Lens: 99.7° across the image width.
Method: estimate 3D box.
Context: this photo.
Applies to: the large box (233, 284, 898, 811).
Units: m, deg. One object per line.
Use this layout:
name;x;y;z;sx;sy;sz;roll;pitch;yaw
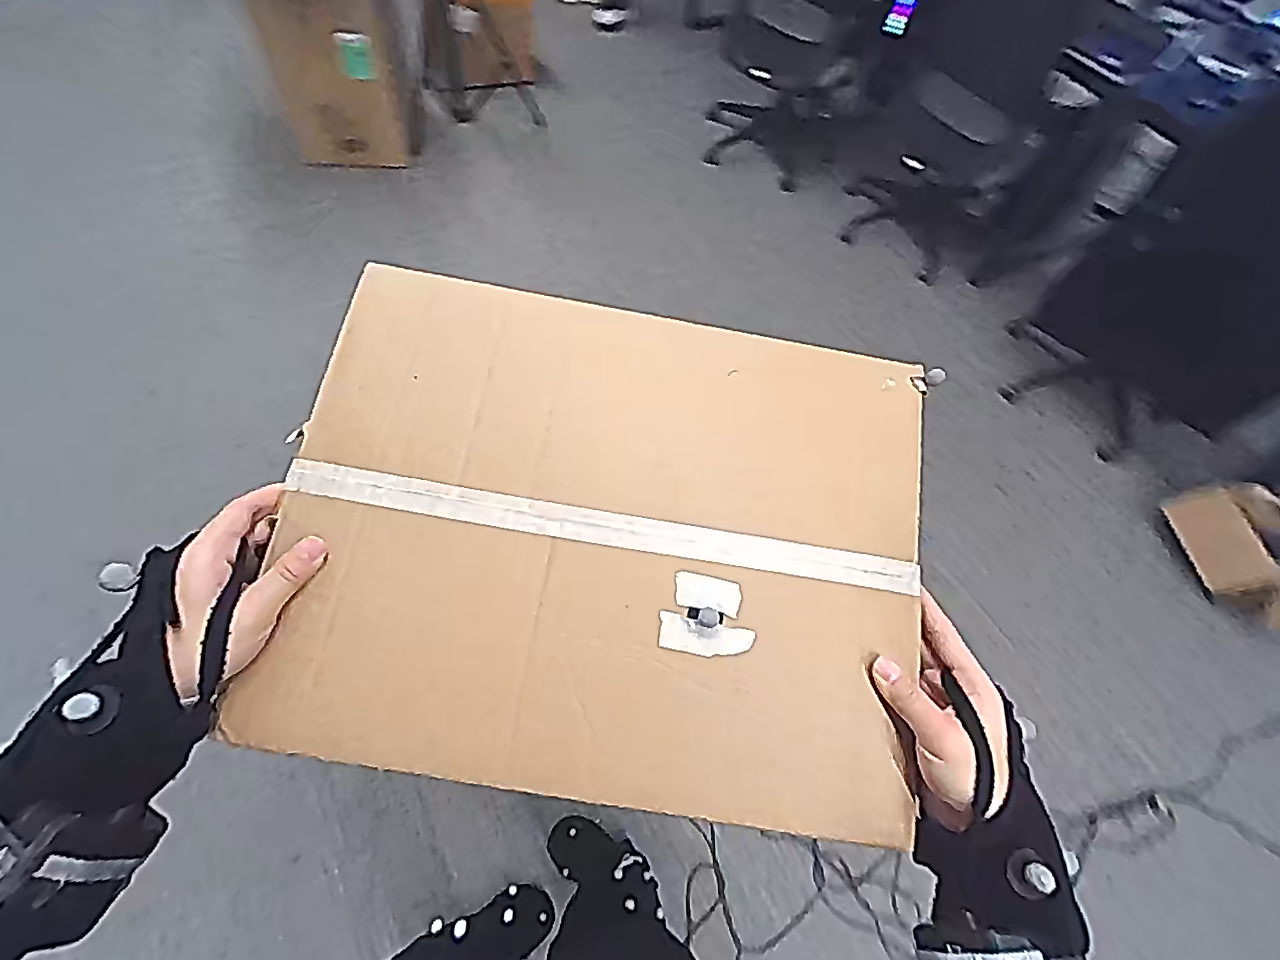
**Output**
large box;-0.036;0.068;0.503;0.408;0.320;0.320;9;75;-3
